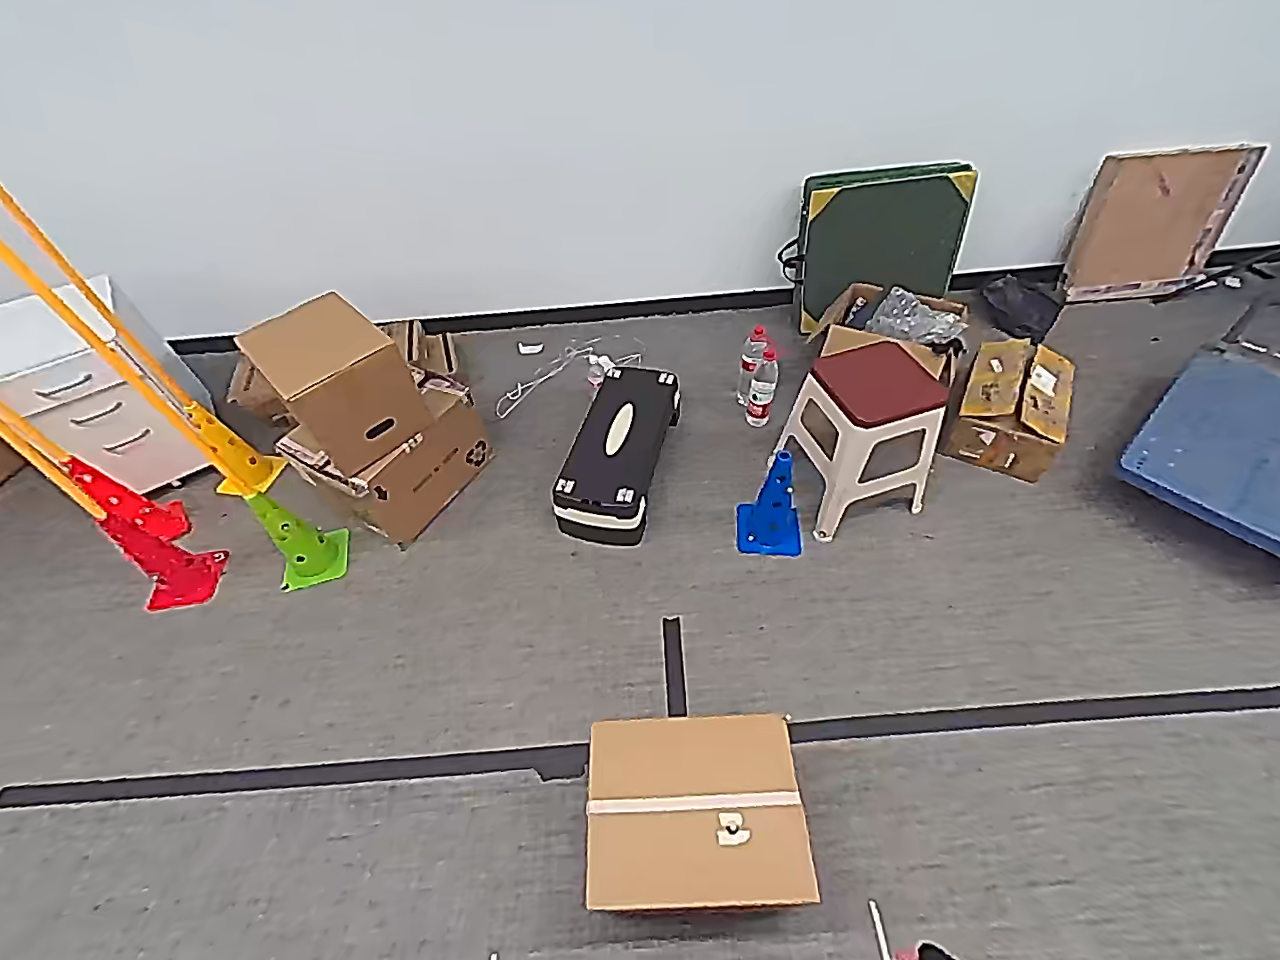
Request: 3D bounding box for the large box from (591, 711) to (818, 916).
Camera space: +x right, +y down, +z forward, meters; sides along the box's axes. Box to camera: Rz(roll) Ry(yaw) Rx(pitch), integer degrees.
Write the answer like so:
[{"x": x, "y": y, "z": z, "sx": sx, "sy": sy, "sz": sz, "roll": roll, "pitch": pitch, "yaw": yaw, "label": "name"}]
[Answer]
[{"x": 0.110, "y": 0.707, "z": 1.142, "sx": 0.408, "sy": 0.320, "sz": 0.320, "roll": -3, "pitch": 50, "yaw": 1, "label": "large box"}]
